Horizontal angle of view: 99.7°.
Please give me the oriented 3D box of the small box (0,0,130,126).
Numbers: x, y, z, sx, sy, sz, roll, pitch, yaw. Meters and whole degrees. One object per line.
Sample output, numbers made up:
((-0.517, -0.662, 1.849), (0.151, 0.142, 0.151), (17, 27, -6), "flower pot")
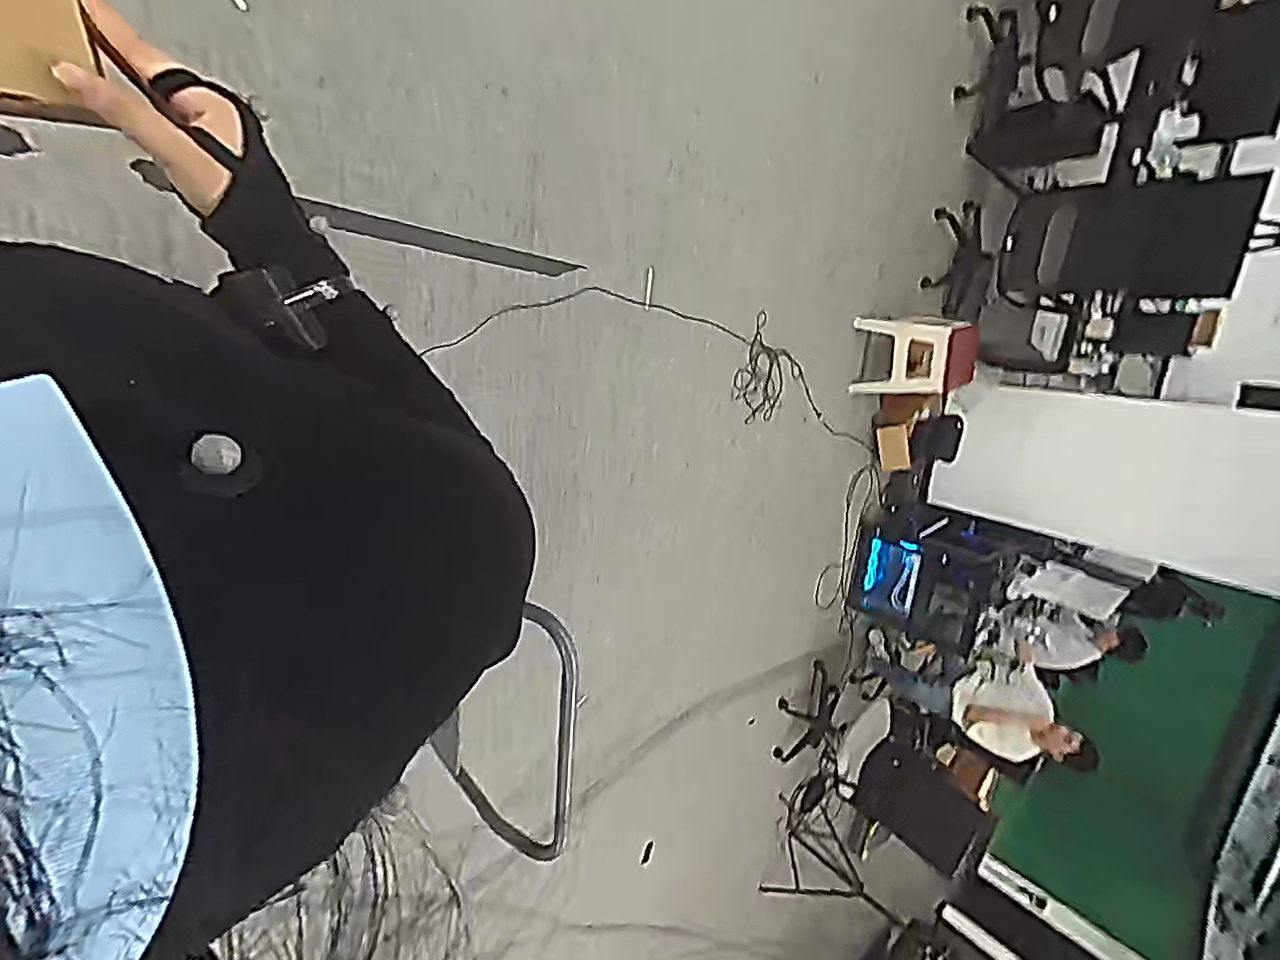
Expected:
((-0.412, -0.316, 0.296), (0.168, 0.176, 0.179), (-13, 121, -37), "small box")
